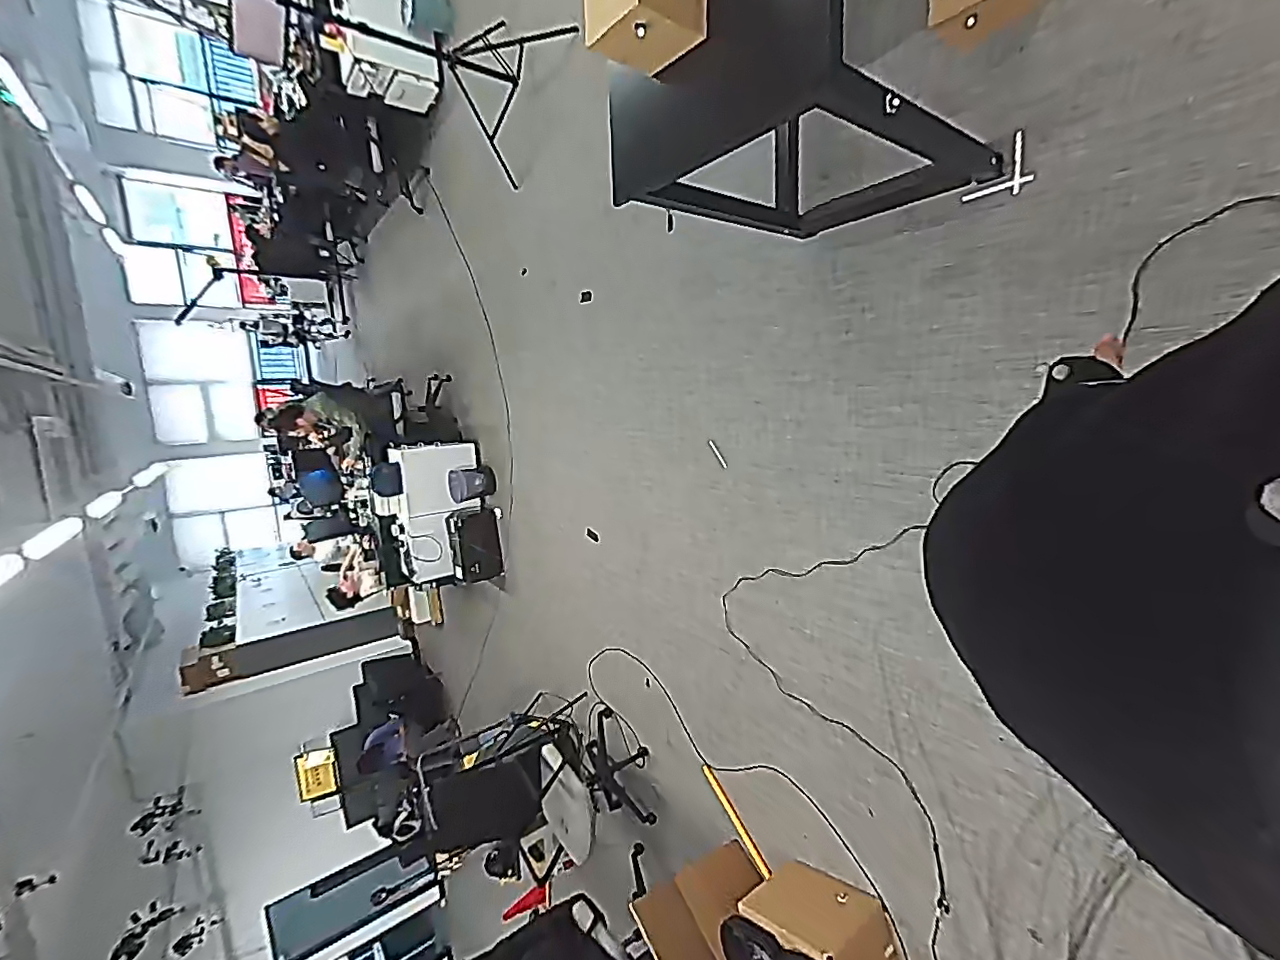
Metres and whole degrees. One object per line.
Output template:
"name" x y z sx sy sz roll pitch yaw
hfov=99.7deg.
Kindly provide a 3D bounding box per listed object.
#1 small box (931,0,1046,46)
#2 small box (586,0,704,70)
"small box" 0.774 -1.114 1.195 0.179 0.176 0.168 8 105 52
"small box" 0.012 -0.931 1.032 0.179 0.176 0.168 15 109 52
